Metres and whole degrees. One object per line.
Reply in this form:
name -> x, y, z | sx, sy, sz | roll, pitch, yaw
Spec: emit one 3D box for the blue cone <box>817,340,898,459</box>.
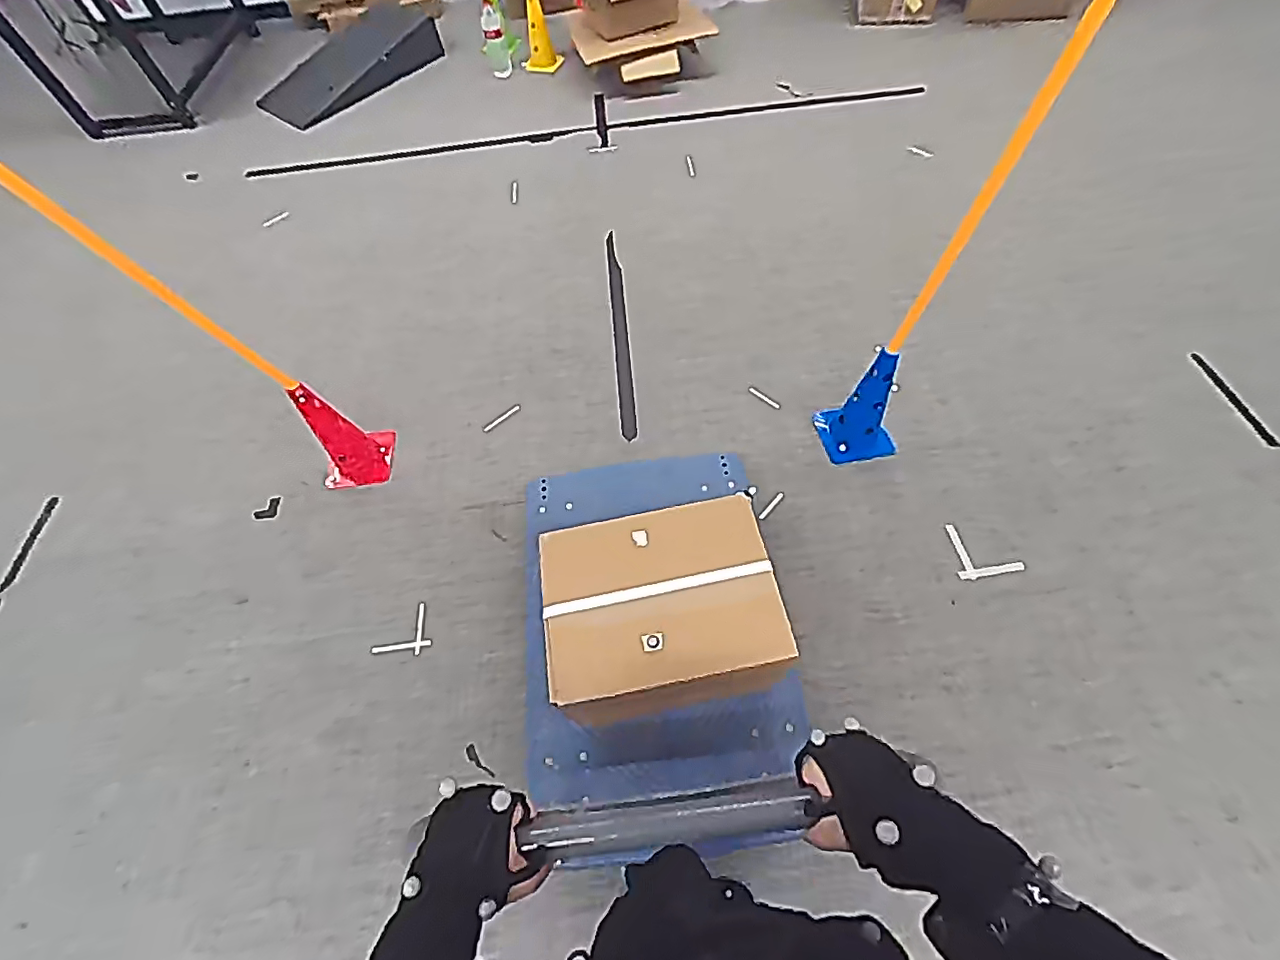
blue cone -> 0.647, -0.235, 1.517 | 0.193, 0.380, 0.192 | -10, 58, -2
